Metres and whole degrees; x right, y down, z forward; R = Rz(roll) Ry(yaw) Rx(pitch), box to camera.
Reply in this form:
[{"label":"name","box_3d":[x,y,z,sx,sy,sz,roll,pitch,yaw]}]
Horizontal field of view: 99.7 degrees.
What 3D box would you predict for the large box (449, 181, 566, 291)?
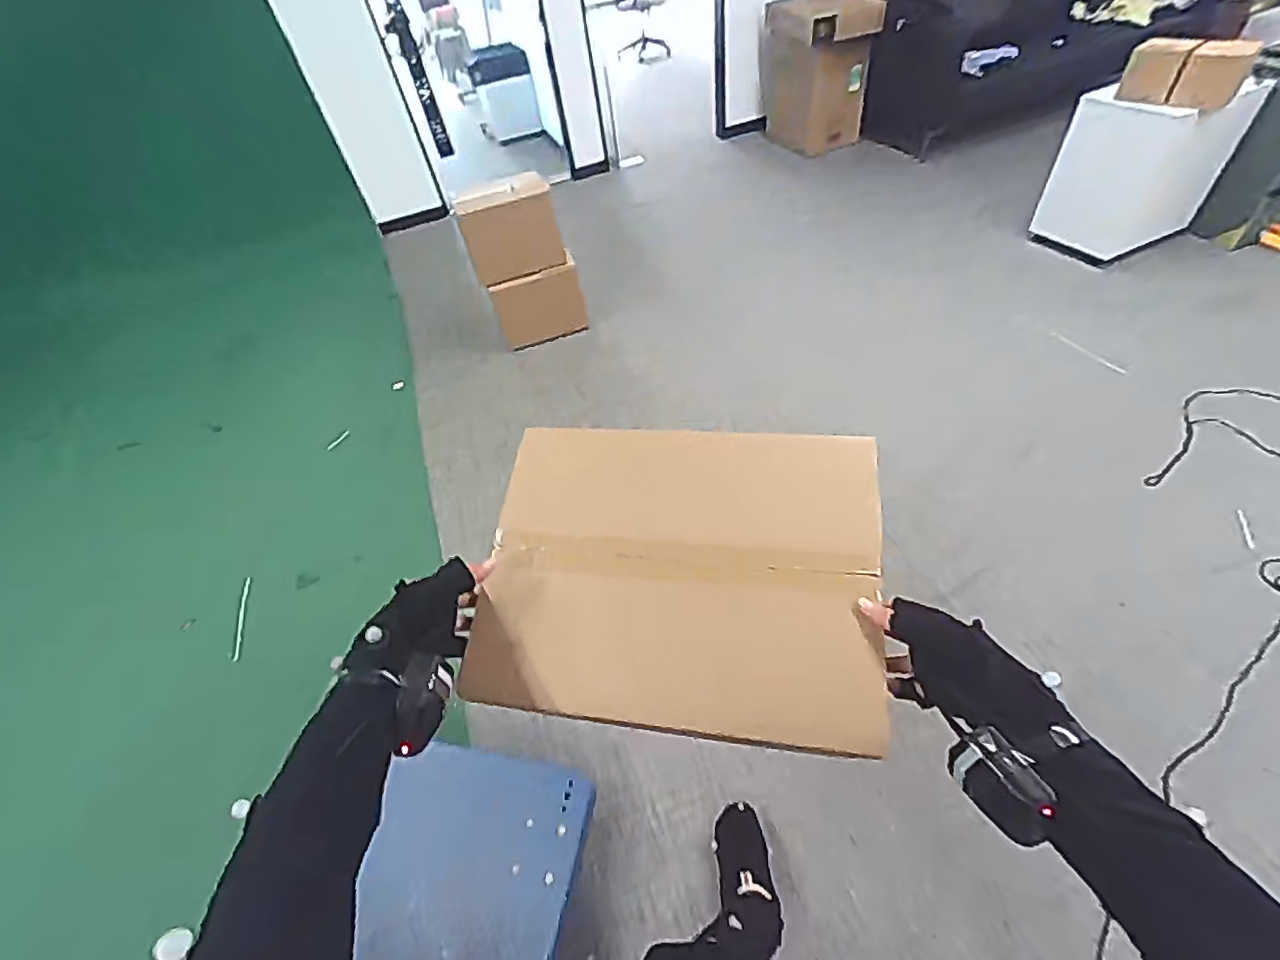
[{"label":"large box","box_3d":[-0.583,-1.083,2.395,0.408,0.320,0.320,-19,45,-9]}]
